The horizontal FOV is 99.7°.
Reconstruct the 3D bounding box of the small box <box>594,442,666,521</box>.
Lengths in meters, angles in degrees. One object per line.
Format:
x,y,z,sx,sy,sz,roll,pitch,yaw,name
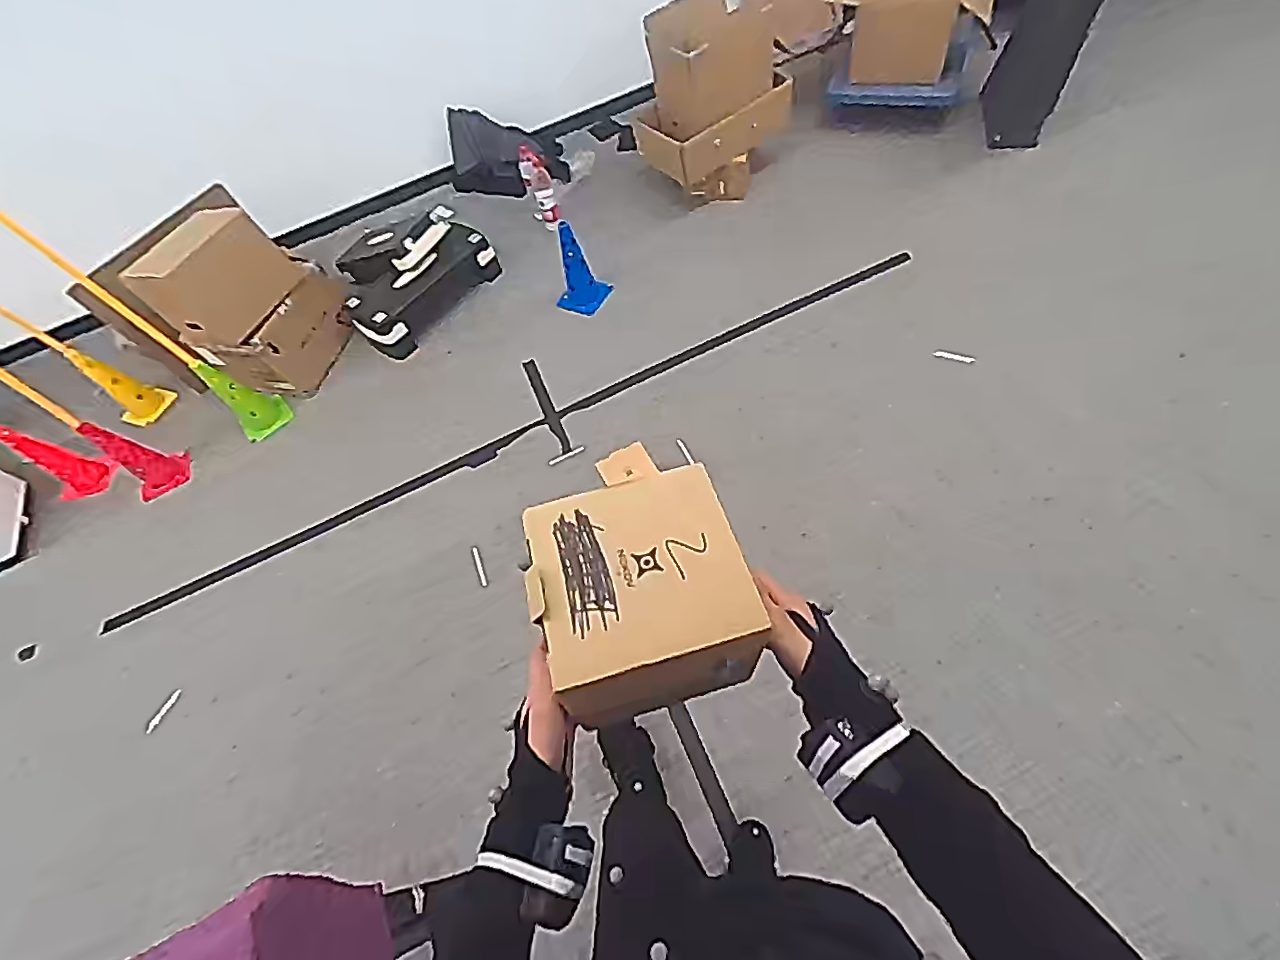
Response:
-0.028,0.013,1.770,0.168,0.176,0.179,-29,59,-7,small box
